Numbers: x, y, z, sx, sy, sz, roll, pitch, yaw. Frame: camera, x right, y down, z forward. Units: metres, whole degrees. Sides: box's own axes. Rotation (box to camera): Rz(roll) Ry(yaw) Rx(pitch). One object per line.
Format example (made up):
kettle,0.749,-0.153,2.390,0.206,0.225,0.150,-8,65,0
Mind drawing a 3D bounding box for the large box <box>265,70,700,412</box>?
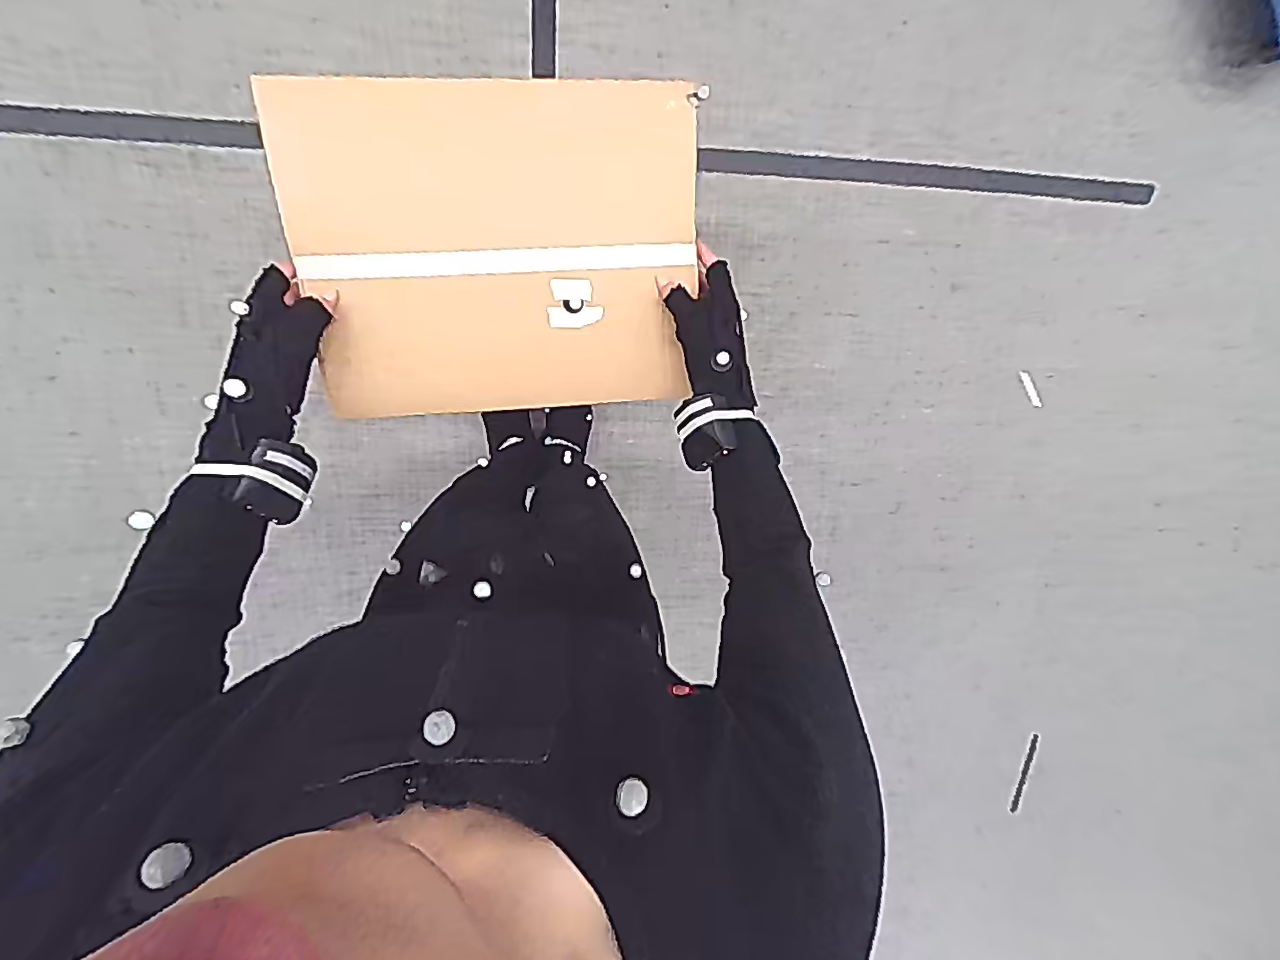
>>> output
large box,-0.158,-0.288,0.694,0.408,0.320,0.320,-6,112,-8
